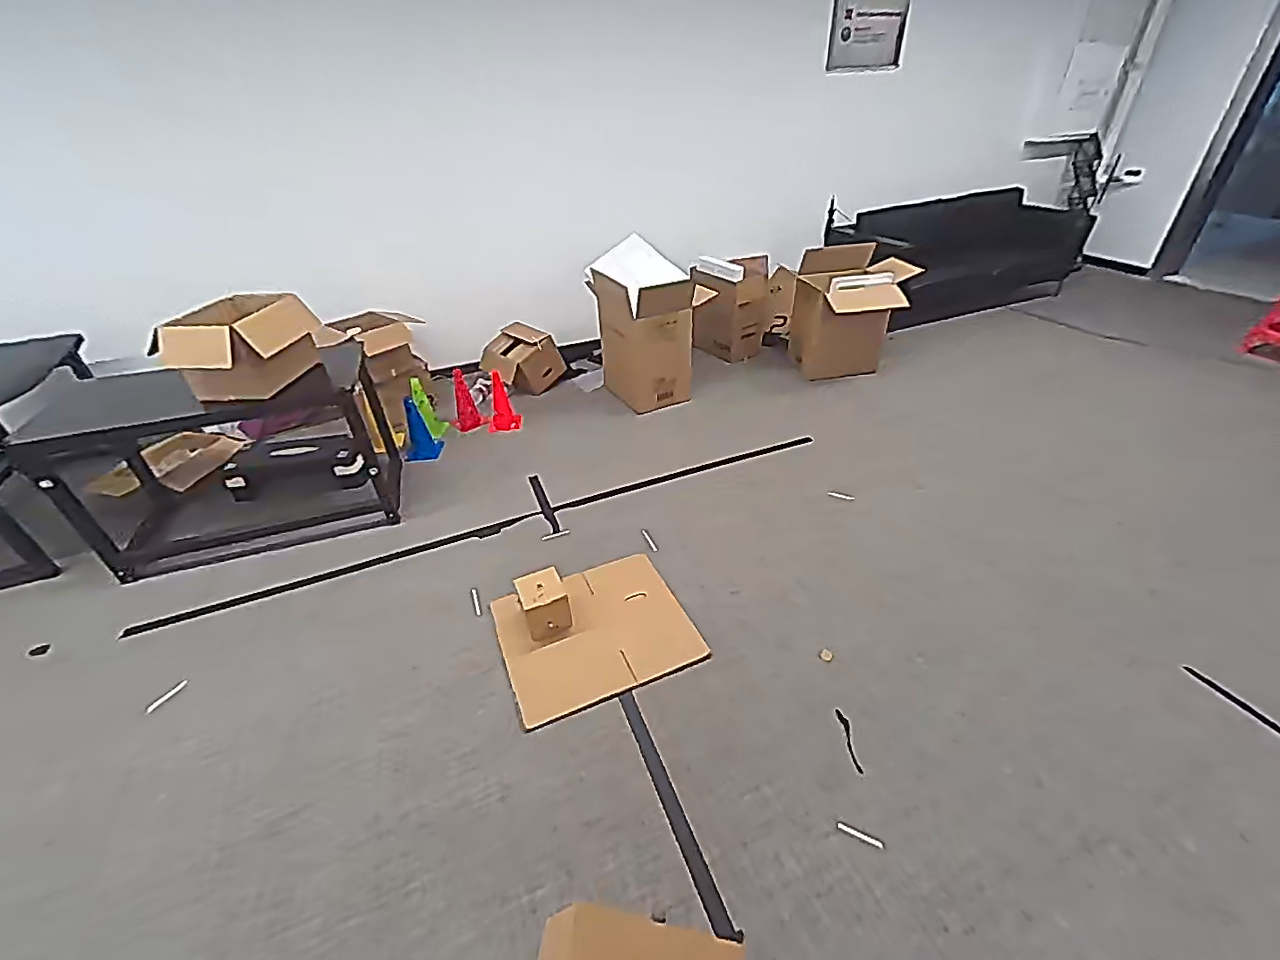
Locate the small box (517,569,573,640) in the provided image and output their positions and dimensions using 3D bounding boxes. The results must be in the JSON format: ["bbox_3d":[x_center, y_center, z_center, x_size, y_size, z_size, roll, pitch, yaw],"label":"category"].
[{"bbox_3d":[-0.366,0.482,2.084,0.168,0.176,0.179,-17,37,-18],"label":"small box"}]

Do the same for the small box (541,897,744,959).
[{"bbox_3d":[-0.016,0.533,0.519,0.179,0.176,0.168,20,43,-6],"label":"small box"}]
